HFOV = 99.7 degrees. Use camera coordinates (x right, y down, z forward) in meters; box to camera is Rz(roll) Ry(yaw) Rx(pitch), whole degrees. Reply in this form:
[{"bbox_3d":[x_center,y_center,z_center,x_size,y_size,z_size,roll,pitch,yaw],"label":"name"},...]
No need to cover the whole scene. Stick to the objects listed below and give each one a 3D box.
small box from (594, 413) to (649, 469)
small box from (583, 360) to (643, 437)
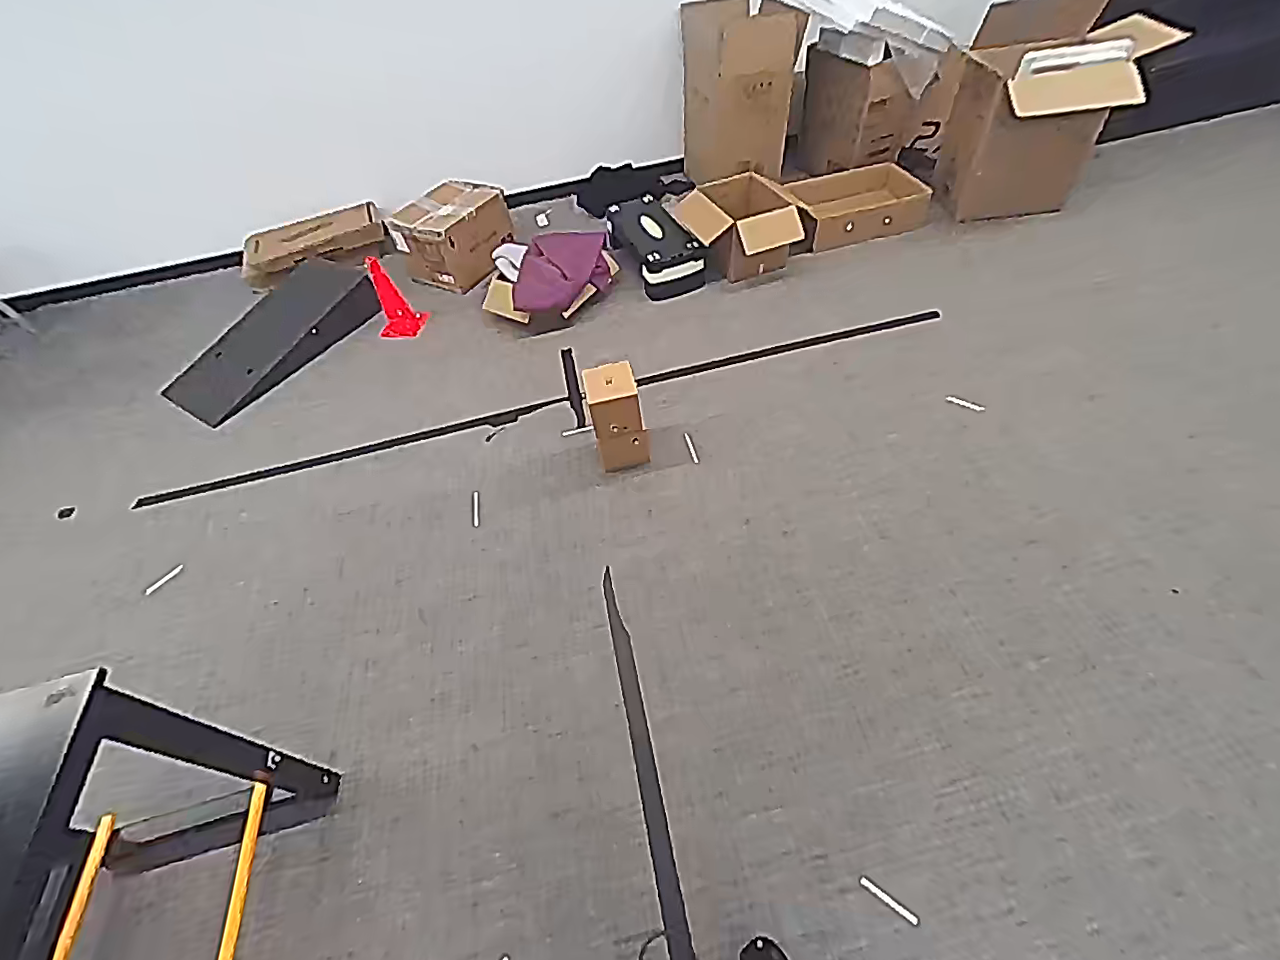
[{"bbox_3d":[-0.068,-0.164,1.950,0.179,0.176,0.168,-14,51,-4],"label":"small box"},{"bbox_3d":[-0.091,-0.273,1.831,0.168,0.176,0.179,-13,52,-2],"label":"small box"}]
